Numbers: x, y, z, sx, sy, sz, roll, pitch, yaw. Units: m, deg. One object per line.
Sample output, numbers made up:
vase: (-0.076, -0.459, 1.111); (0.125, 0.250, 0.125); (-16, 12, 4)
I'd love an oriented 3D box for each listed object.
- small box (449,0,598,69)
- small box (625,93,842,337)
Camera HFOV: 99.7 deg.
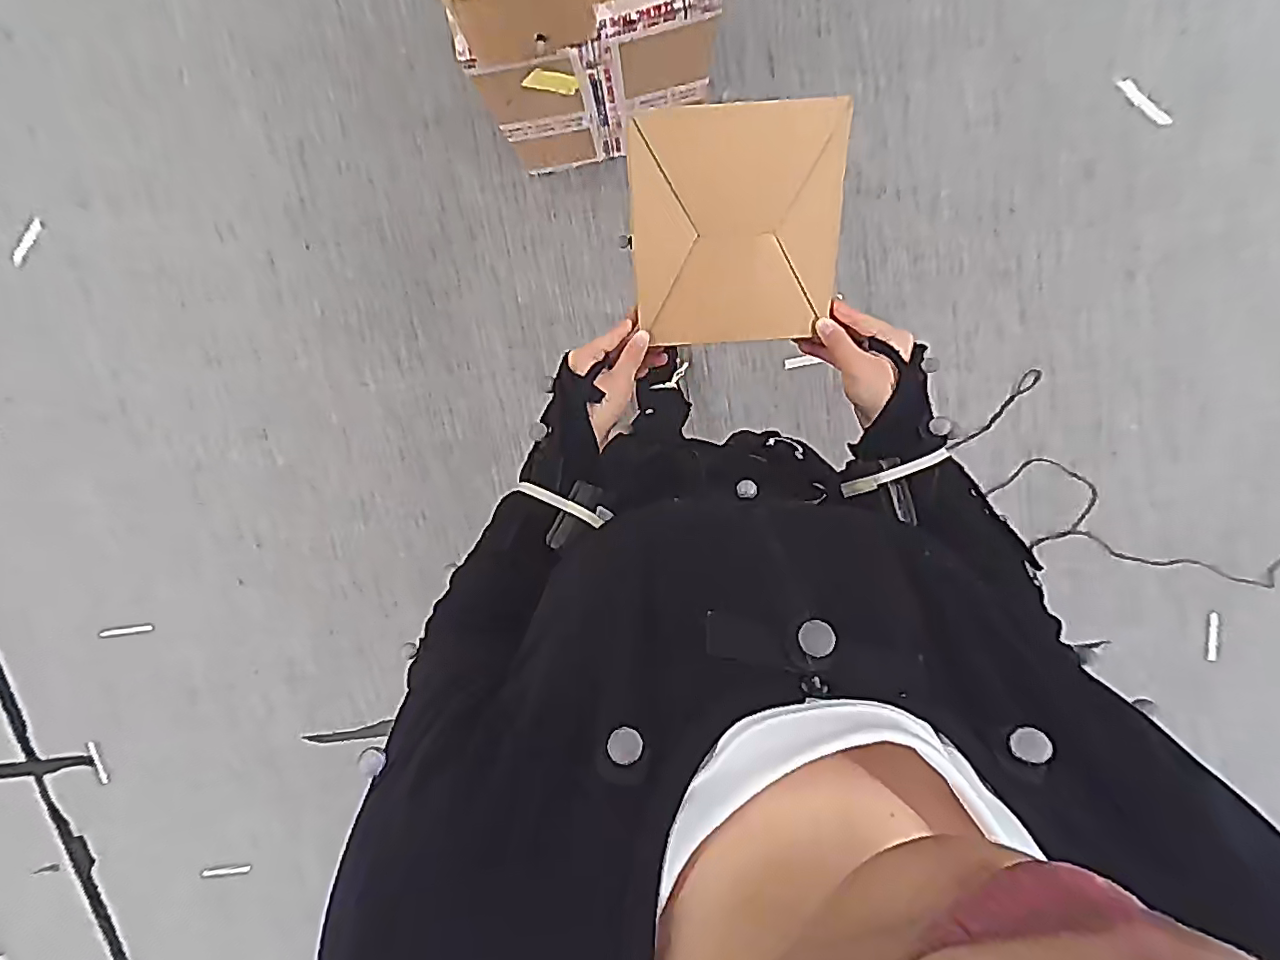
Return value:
small box: (-0.162, -0.670, 0.682); (0.179, 0.176, 0.168); (-12, 104, 4)
small box: (0.073, -0.241, 0.508); (0.168, 0.176, 0.179); (-3, 119, -1)
